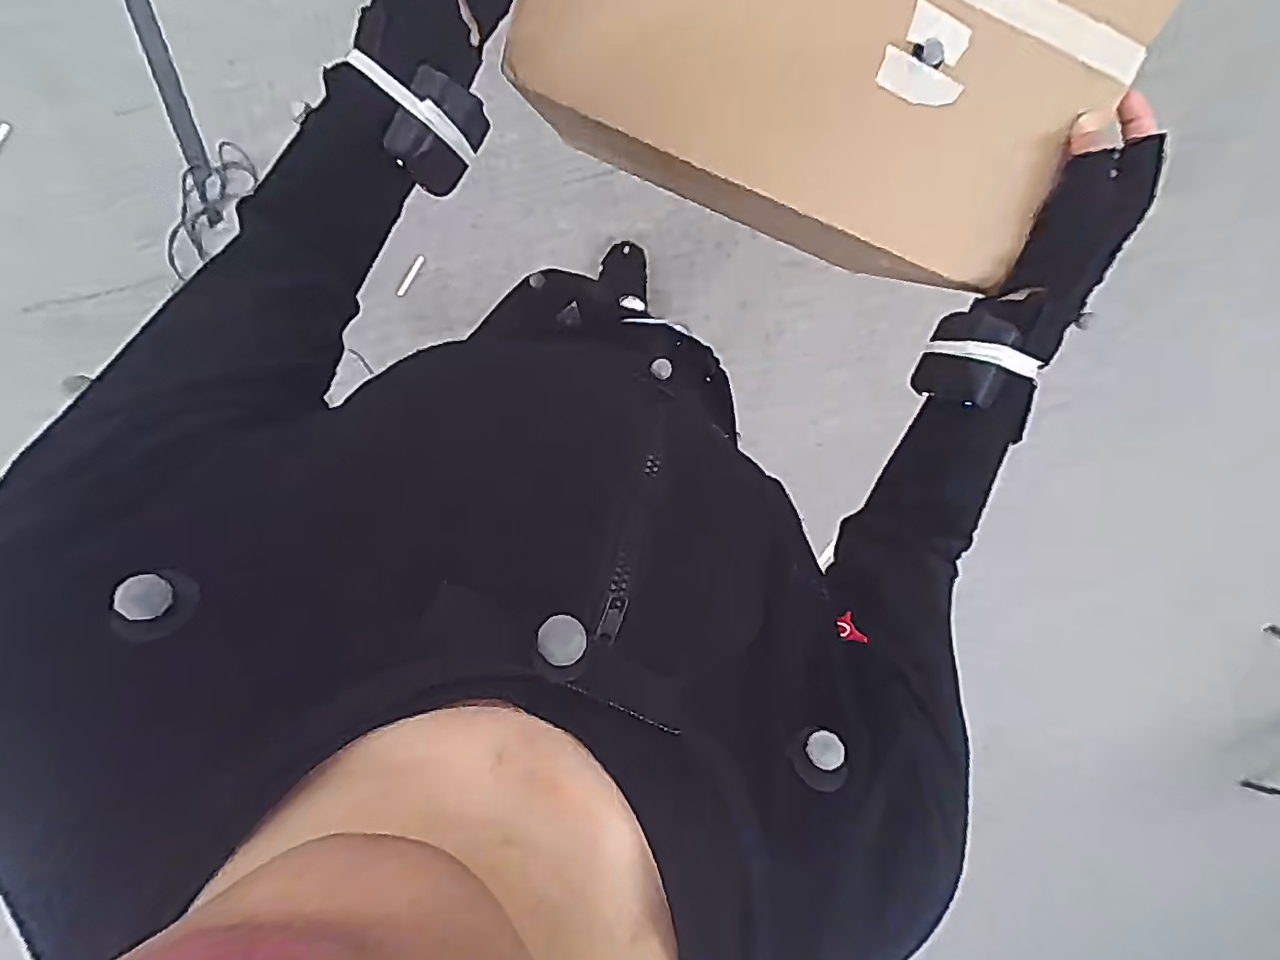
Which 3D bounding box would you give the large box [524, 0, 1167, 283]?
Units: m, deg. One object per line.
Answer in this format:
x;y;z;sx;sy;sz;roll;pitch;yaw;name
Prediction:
0.152;-0.412;0.490;0.408;0.320;0.320;20;114;-9;large box
